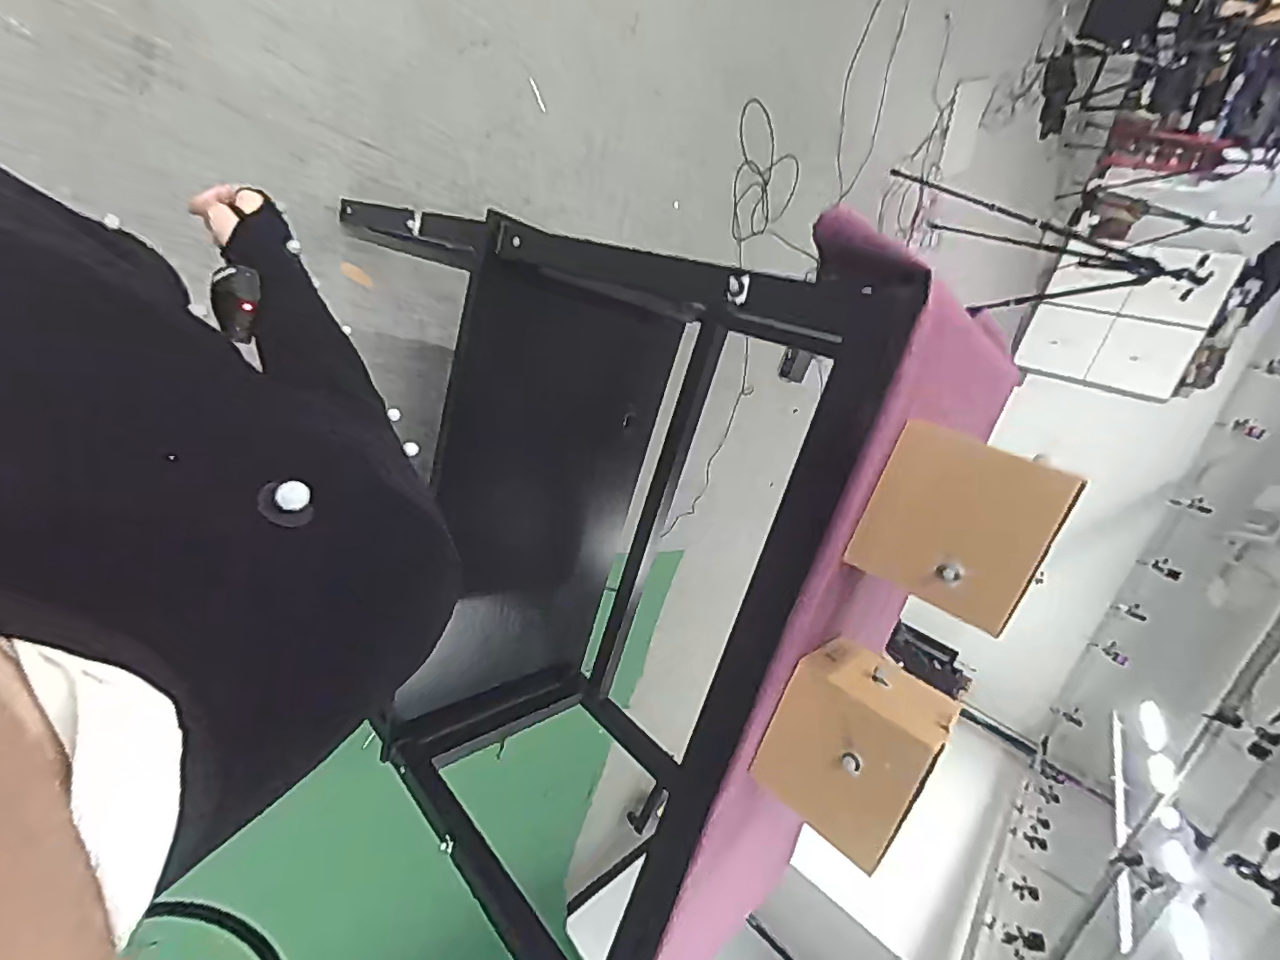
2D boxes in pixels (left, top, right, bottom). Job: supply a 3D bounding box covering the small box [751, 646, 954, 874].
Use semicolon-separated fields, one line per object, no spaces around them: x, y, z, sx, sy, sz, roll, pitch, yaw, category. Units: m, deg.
0.268;0.334;0.693;0.168;0.176;0.179;4;109;-51;small box
